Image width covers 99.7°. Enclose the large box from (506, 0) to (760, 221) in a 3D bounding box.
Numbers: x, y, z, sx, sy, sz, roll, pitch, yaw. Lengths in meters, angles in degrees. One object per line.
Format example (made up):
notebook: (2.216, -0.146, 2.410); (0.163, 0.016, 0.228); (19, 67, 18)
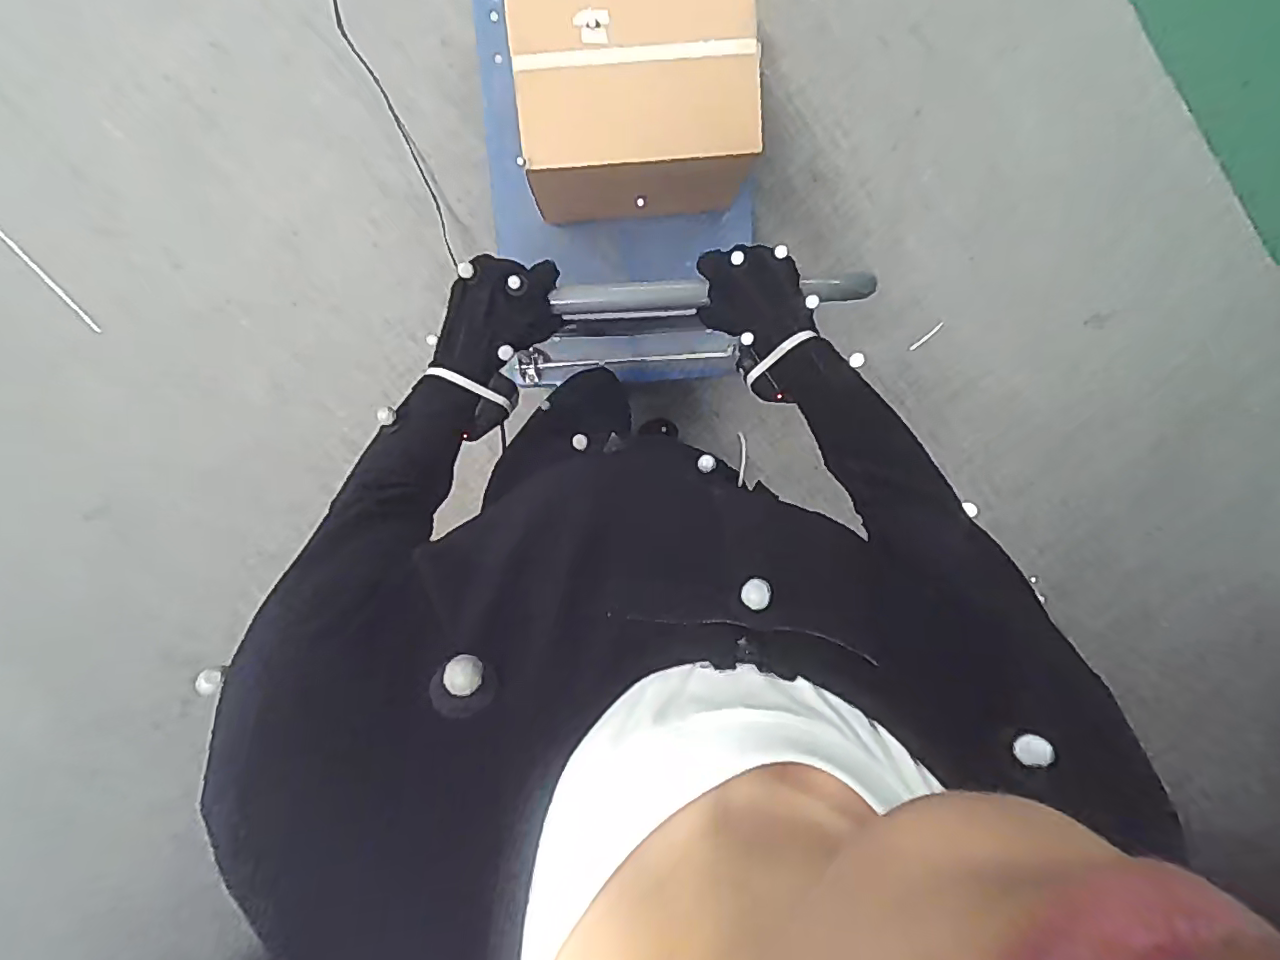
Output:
large box: (-0.011, -0.714, 1.036); (0.408, 0.320, 0.320); (-6, 100, -2)
